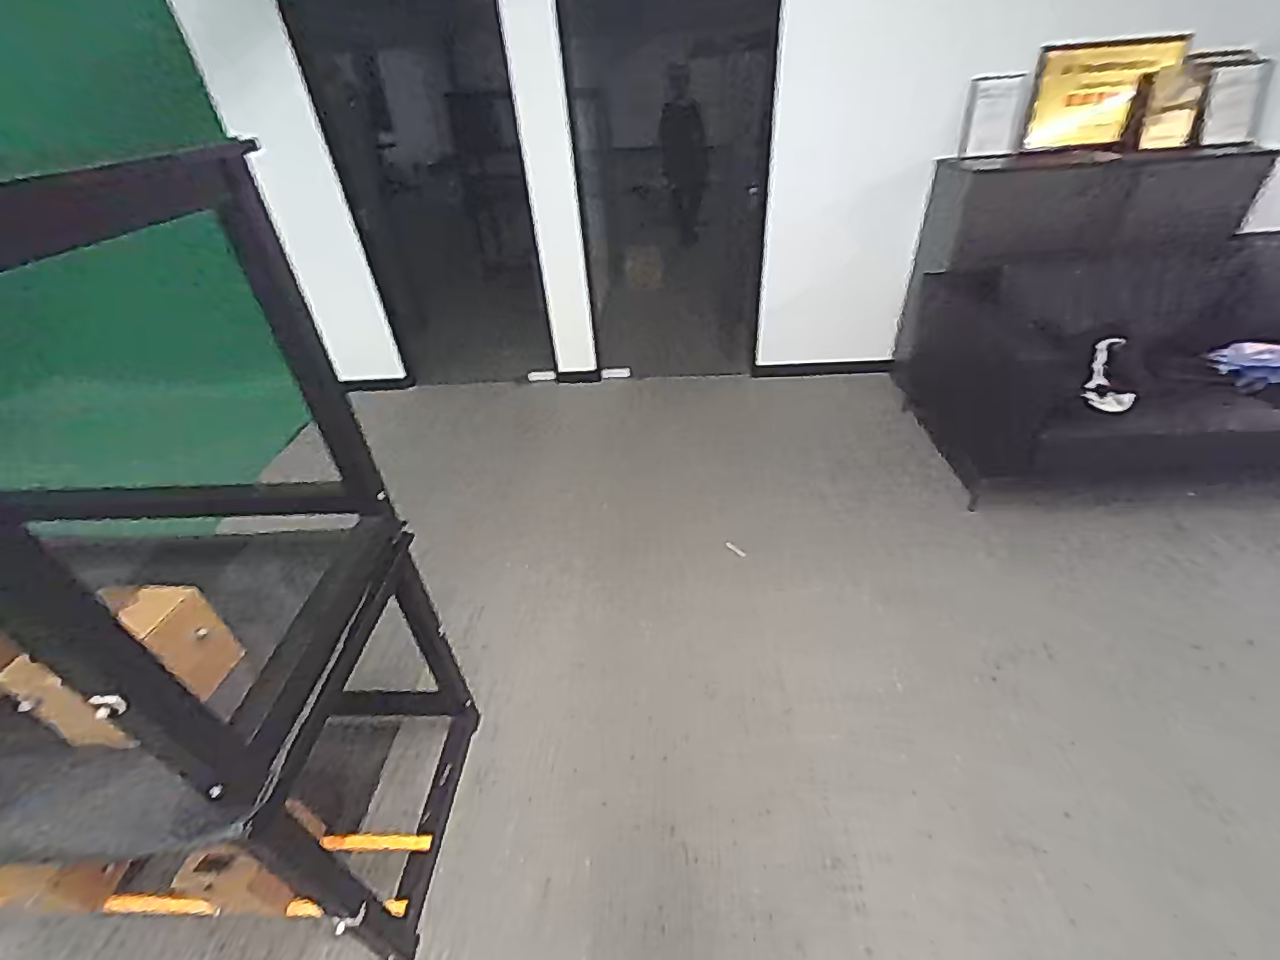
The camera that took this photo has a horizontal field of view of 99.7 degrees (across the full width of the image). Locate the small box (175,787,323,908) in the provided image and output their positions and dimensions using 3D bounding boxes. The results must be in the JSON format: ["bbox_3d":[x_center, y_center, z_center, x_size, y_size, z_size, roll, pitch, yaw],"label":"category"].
[{"bbox_3d":[-0.840,0.807,1.186,0.168,0.176,0.179,1,37,6],"label":"small box"}]
